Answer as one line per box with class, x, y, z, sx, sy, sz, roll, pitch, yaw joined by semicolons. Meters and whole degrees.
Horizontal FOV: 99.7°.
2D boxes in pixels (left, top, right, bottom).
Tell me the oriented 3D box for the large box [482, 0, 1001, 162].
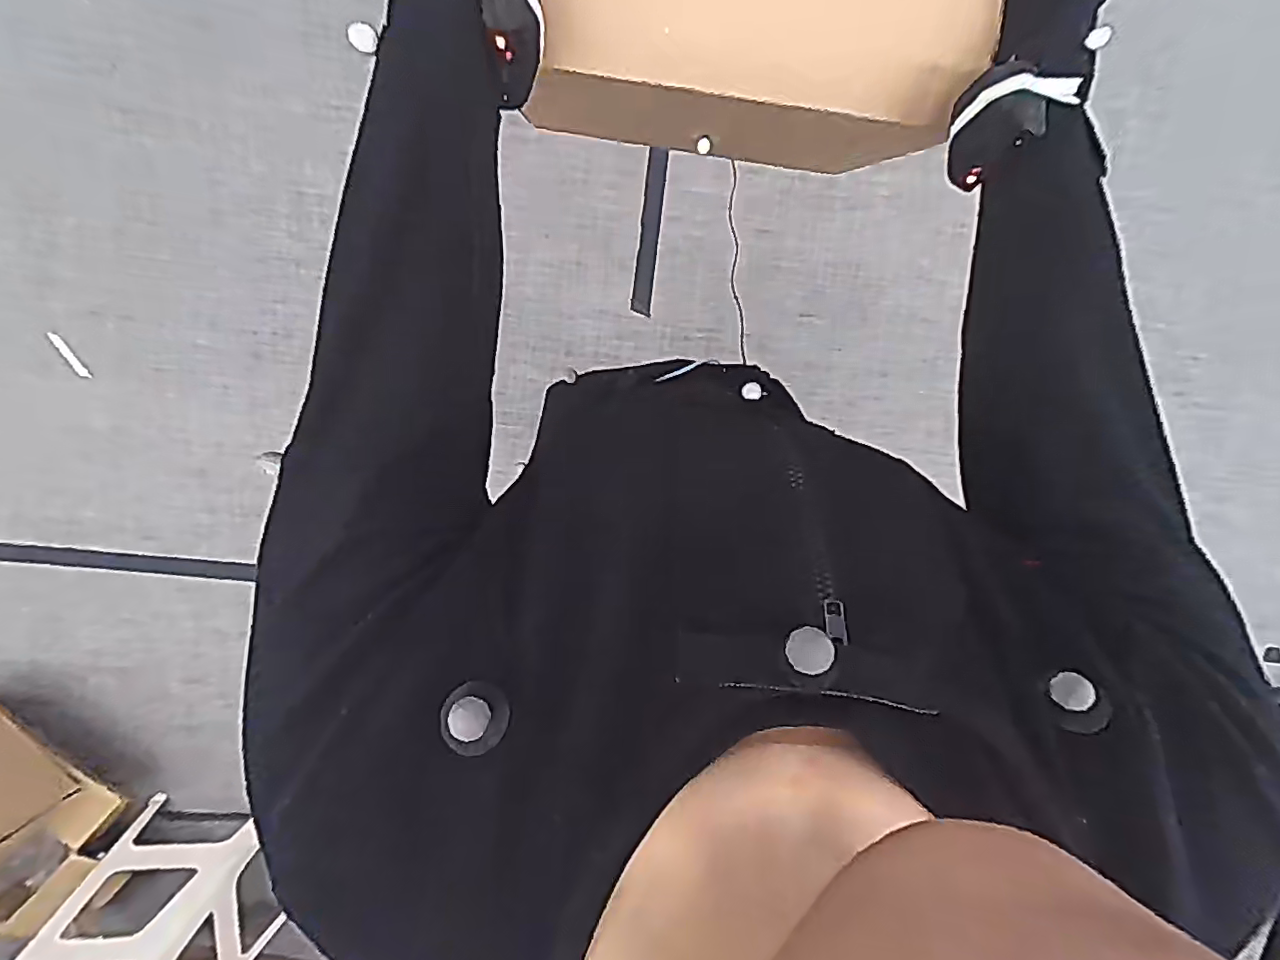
large box;0.088;-0.511;0.510;0.408;0.320;0.320;6;113;-5
